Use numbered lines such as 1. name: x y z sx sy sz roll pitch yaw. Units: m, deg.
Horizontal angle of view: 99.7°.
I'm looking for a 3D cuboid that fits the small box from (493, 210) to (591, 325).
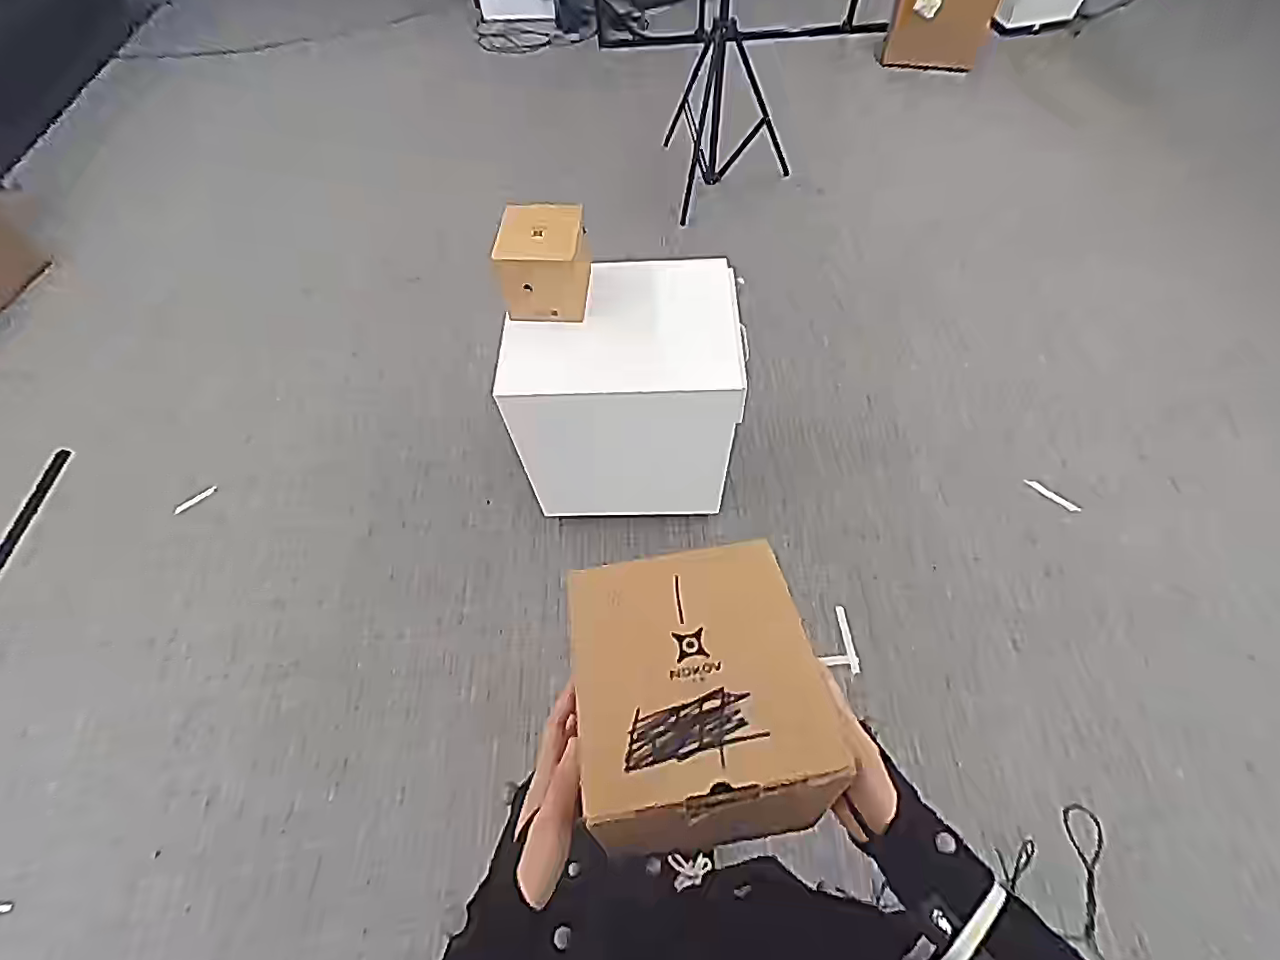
1. small box: -0.202 -0.454 1.167 0.168 0.176 0.179 2 60 3
